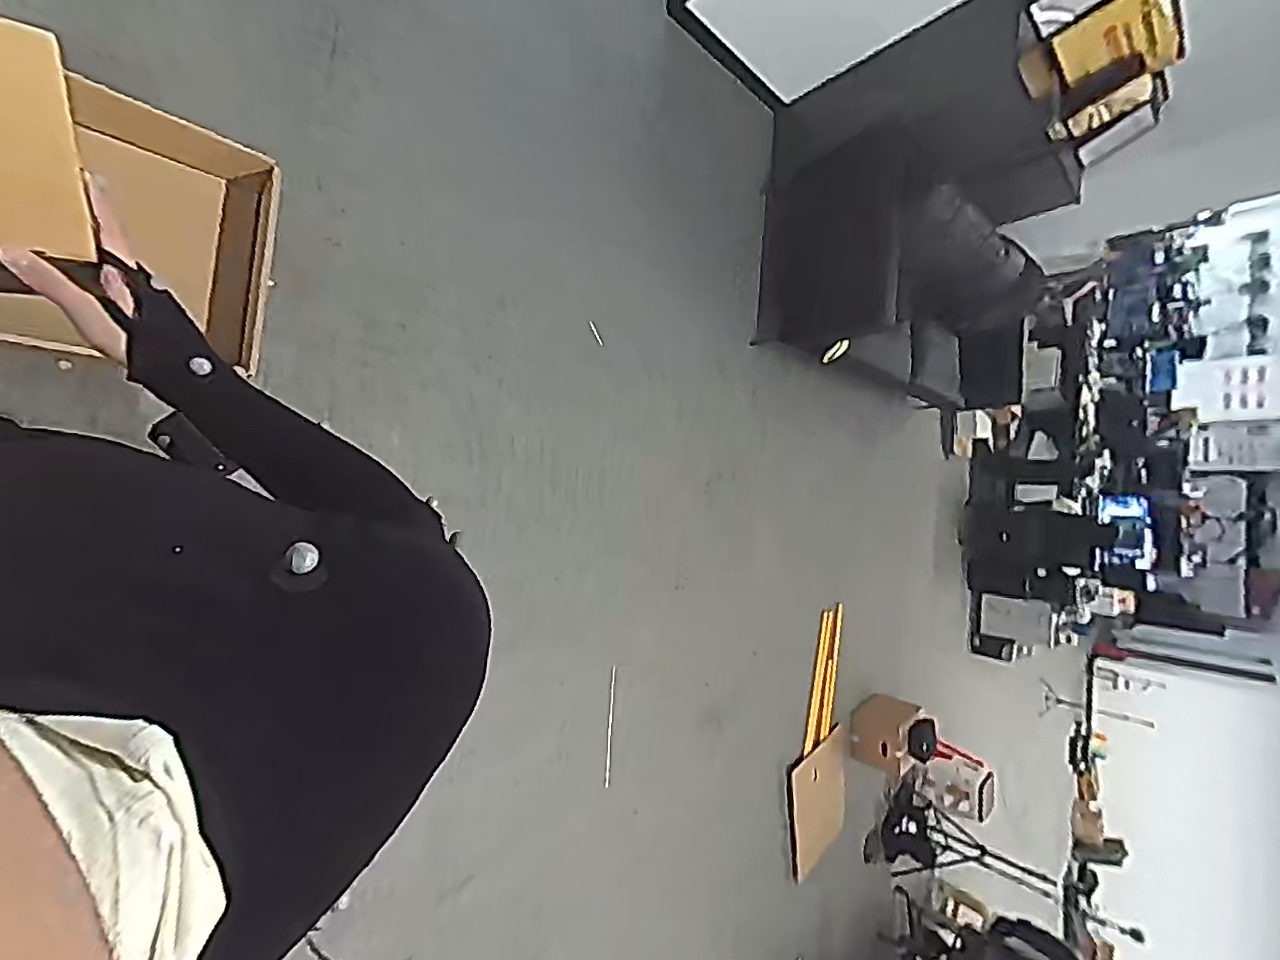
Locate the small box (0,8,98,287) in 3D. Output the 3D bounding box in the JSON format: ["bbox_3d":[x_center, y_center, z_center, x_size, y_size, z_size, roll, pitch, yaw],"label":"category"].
[{"bbox_3d":[-0.573,-0.269,0.438,0.168,0.176,0.179,-12,103,-44],"label":"small box"}]
